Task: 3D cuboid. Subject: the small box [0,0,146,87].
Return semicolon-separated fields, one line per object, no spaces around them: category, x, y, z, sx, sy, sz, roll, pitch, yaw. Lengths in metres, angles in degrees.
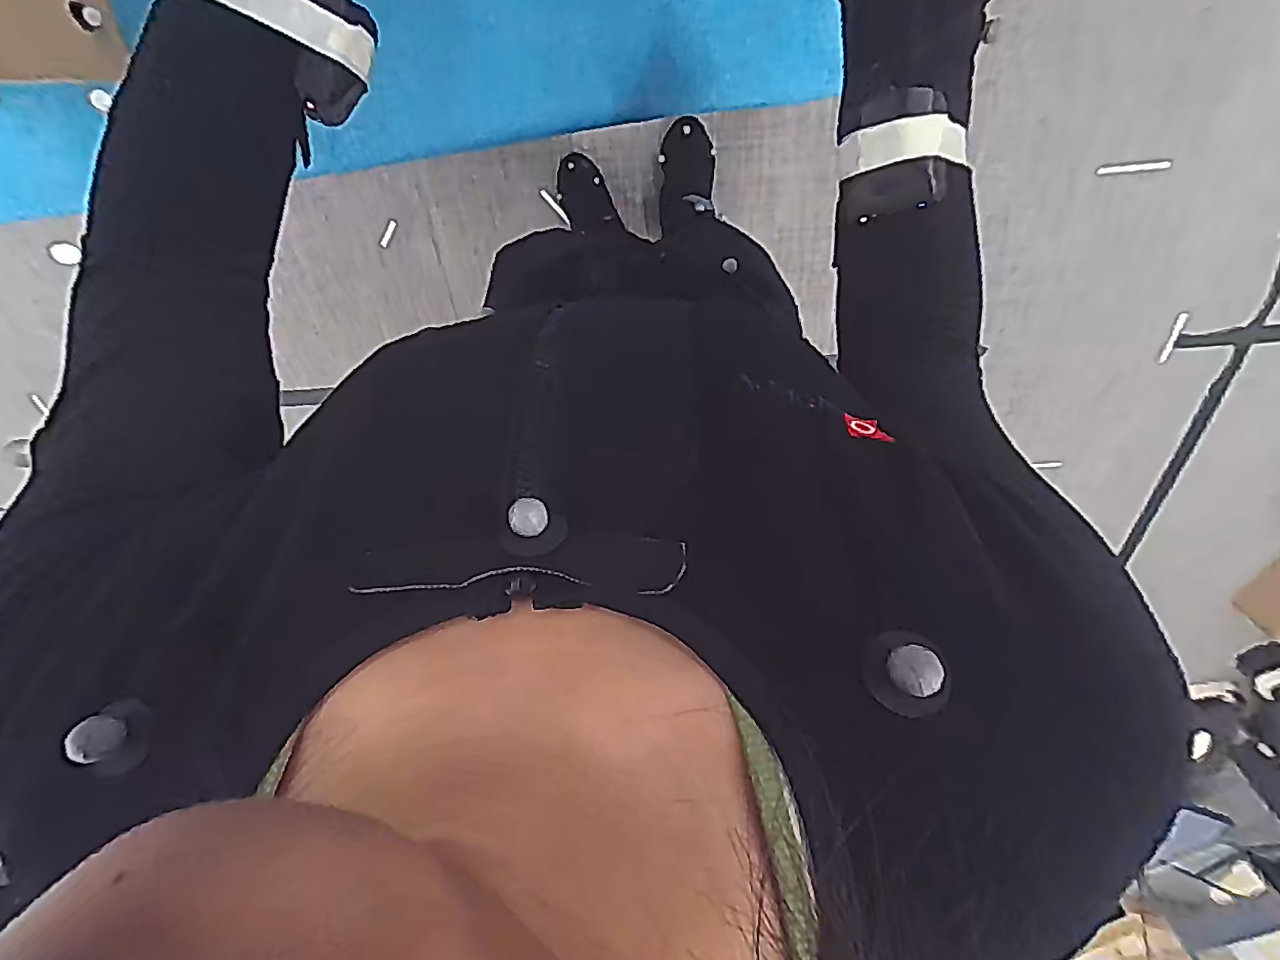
small box;-0.564;-0.414;0.416;0.168;0.176;0.179;-1;126;0
